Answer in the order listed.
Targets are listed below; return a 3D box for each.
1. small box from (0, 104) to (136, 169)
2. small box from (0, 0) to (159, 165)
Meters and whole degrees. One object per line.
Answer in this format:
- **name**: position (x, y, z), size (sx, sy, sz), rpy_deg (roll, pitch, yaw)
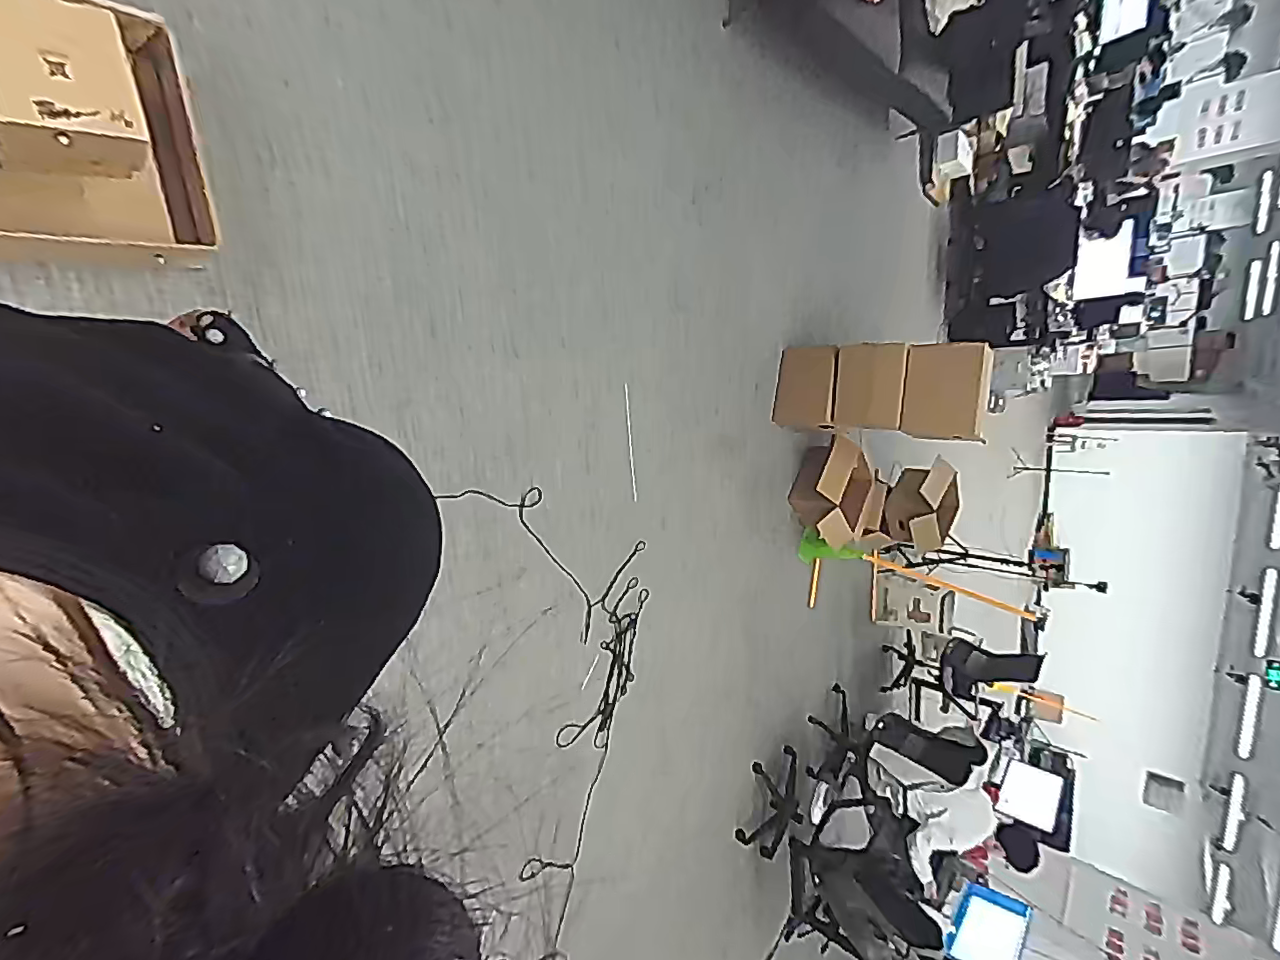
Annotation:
- **small box**: position (-0.994, -0.651, 0.928), size (0.179, 0.176, 0.168), rpy_deg (-24, 113, -41)
- **small box**: position (-0.870, -0.612, 0.824), size (0.168, 0.176, 0.179), rpy_deg (-18, 109, -41)
